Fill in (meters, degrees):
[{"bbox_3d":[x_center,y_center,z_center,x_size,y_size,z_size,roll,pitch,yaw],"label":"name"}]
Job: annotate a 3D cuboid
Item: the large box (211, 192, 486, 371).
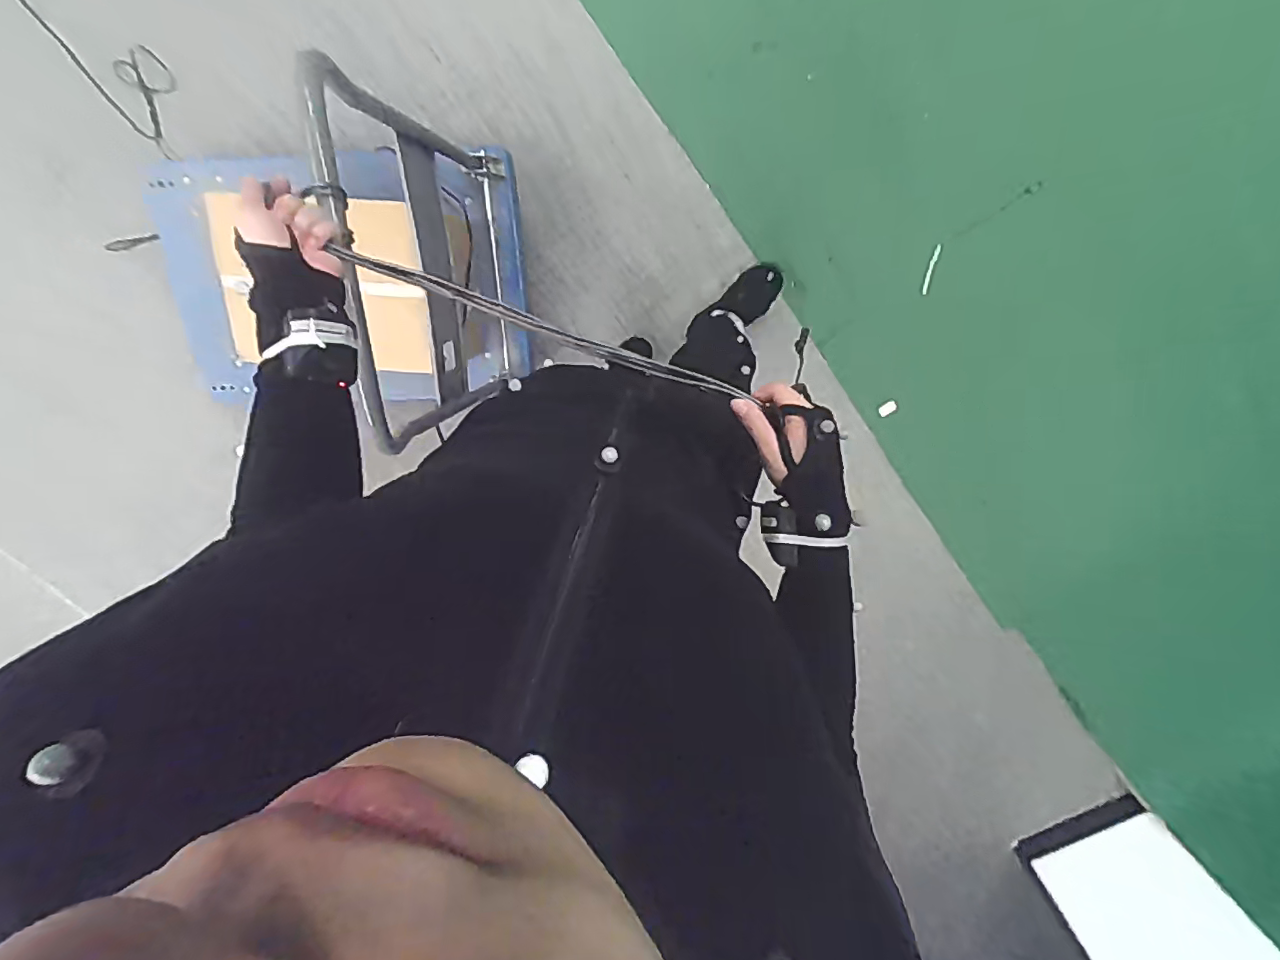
[{"bbox_3d":[-0.582,-0.426,1.168,0.408,0.320,0.320,4,111,2],"label":"large box"}]
